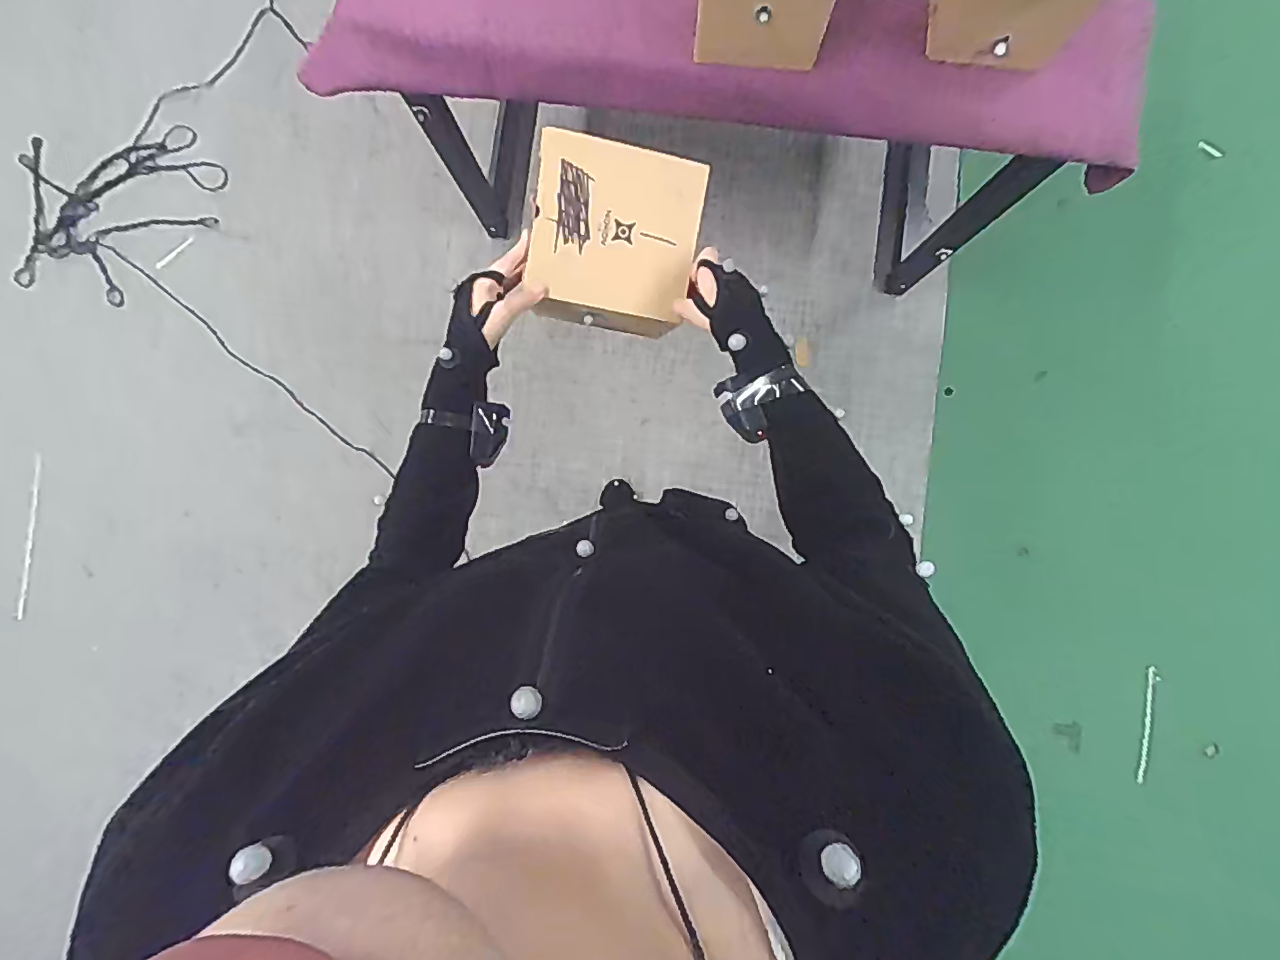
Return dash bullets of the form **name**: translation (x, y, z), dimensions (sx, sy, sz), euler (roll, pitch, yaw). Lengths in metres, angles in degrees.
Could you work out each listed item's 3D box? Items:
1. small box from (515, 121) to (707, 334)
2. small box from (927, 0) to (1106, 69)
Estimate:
- **small box**: translation (-0.039, -0.274, 0.631), dimensions (0.179, 0.176, 0.168), euler (9, 98, -9)
- **small box**: translation (0.515, -0.689, 0.715), dimensions (0.179, 0.176, 0.168), euler (7, 86, 2)
